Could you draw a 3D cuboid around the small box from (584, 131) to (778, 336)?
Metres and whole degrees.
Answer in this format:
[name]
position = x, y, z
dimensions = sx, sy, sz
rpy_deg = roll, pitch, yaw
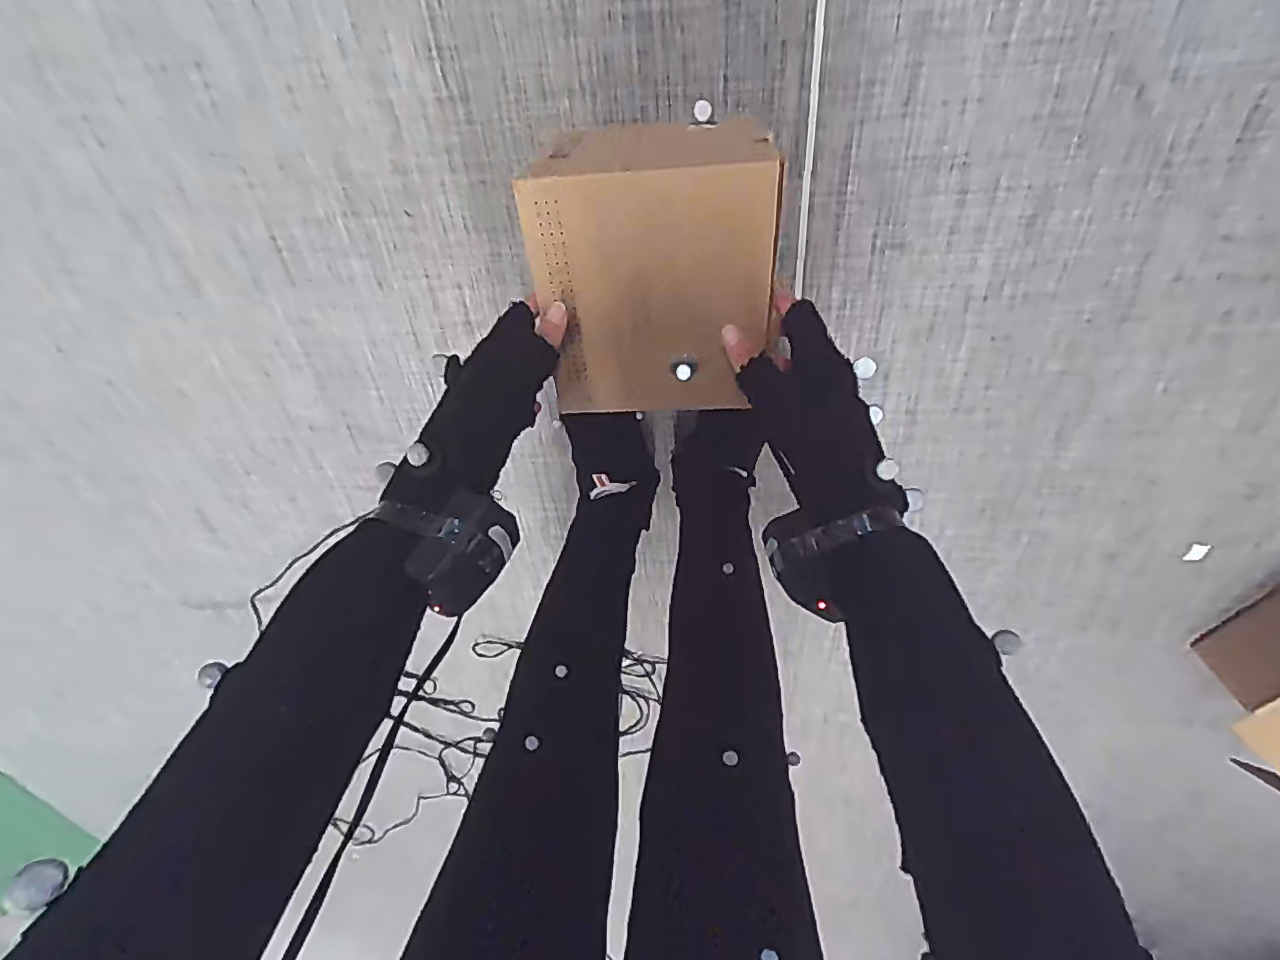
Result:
[small box]
position = 0.051, -0.270, 0.586
dimensions = 0.179, 0.176, 0.168
rpy_deg = -3, 124, 10
